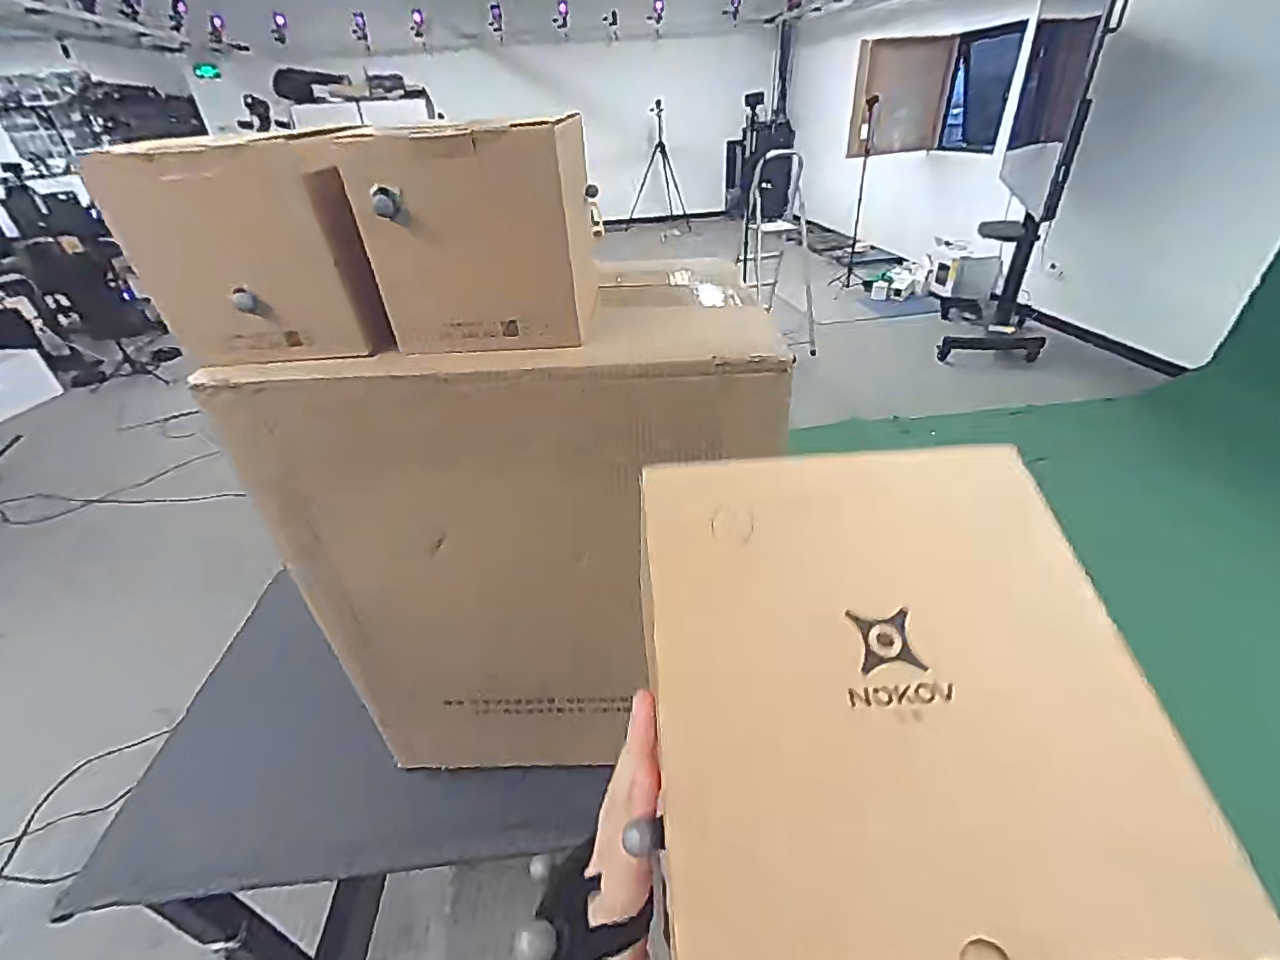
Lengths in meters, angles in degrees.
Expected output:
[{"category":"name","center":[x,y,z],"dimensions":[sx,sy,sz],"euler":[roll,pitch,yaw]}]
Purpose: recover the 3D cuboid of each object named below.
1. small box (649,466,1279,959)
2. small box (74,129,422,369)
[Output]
[{"category":"small box","center":[0.091,0.112,0.251],"dimensions":[0.168,0.176,0.179],"euler":[-3,57,-1]},{"category":"small box","center":[-0.321,-0.215,0.497],"dimensions":[0.168,0.176,0.179],"euler":[-4,36,2]}]
